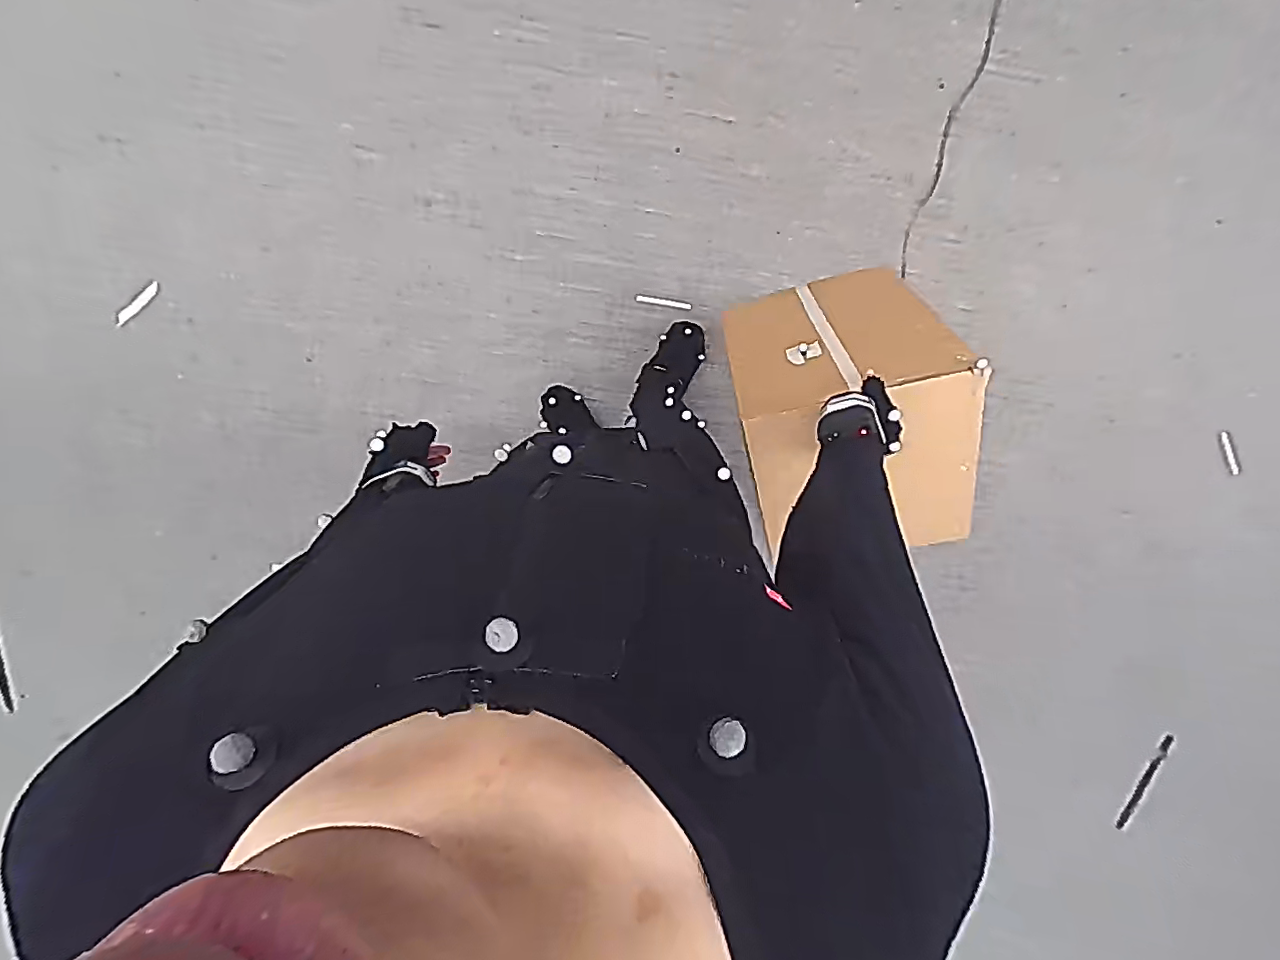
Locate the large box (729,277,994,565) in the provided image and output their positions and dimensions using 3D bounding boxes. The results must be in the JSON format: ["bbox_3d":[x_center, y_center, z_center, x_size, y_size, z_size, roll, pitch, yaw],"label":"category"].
[{"bbox_3d":[0.353,-0.113,0.966,0.320,0.408,0.320,-11,128,12],"label":"large box"}]
